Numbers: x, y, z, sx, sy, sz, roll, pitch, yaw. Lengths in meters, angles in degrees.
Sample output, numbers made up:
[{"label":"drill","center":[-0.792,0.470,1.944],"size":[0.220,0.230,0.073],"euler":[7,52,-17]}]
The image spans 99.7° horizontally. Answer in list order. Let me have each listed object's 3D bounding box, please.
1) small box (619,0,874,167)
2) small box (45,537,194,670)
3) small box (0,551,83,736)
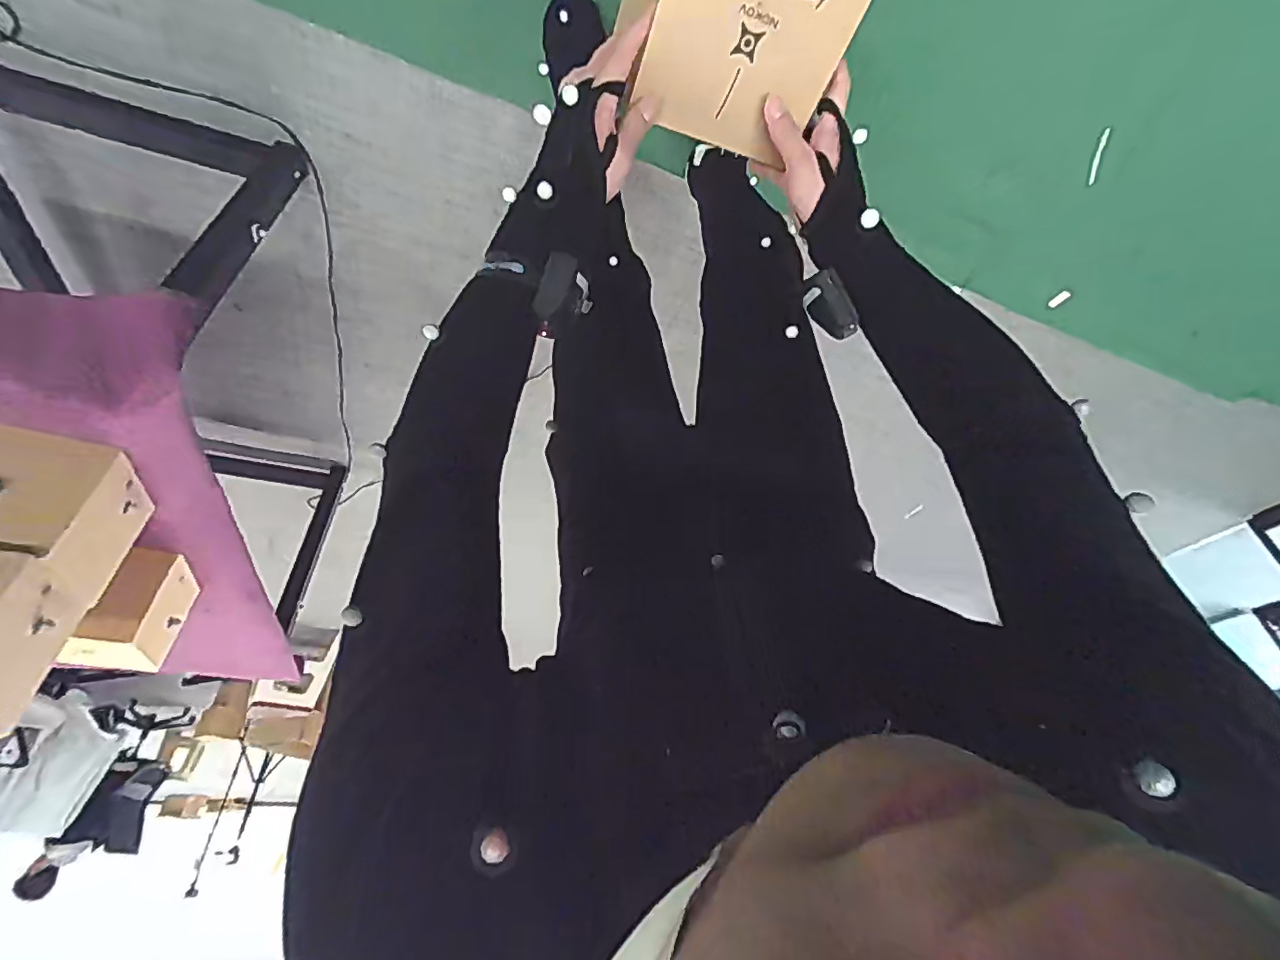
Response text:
[{"label":"small box","center":[0.085,-0.432,0.488],"size":[0.168,0.176,0.179],"euler":[7,141,-20]},{"label":"small box","center":[-0.917,0.216,0.938],"size":[0.179,0.176,0.168],"euler":[15,141,-18]},{"label":"small box","center":[-0.795,0.173,0.595],"size":[0.179,0.176,0.168],"euler":[13,143,-18]}]
